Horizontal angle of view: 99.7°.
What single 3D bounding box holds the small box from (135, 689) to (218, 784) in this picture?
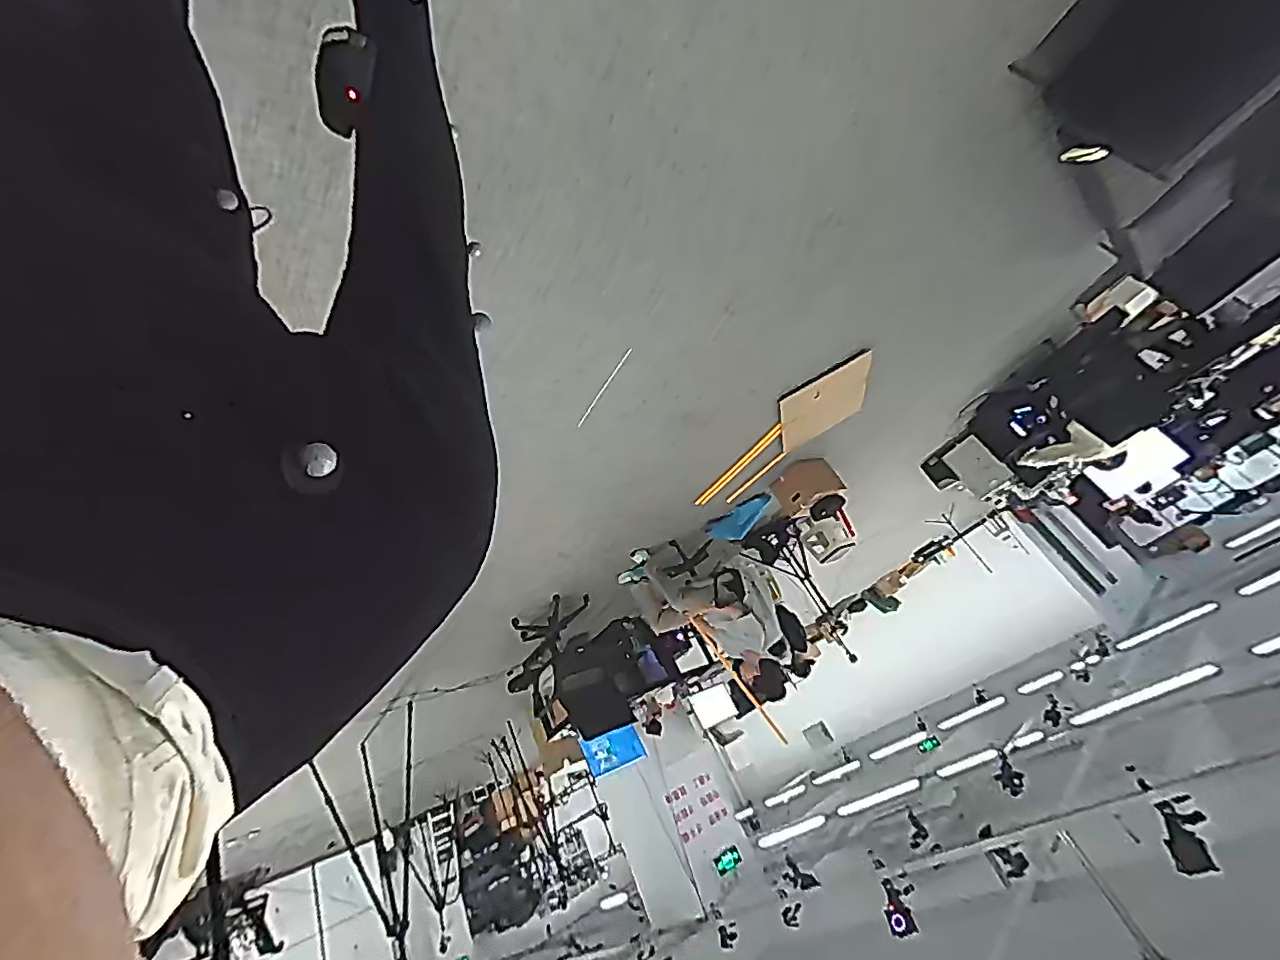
[{"bbox_3d":[-1.275,0.703,1.493,0.168,0.176,0.179,-3,143,-40],"label":"small box"}]
